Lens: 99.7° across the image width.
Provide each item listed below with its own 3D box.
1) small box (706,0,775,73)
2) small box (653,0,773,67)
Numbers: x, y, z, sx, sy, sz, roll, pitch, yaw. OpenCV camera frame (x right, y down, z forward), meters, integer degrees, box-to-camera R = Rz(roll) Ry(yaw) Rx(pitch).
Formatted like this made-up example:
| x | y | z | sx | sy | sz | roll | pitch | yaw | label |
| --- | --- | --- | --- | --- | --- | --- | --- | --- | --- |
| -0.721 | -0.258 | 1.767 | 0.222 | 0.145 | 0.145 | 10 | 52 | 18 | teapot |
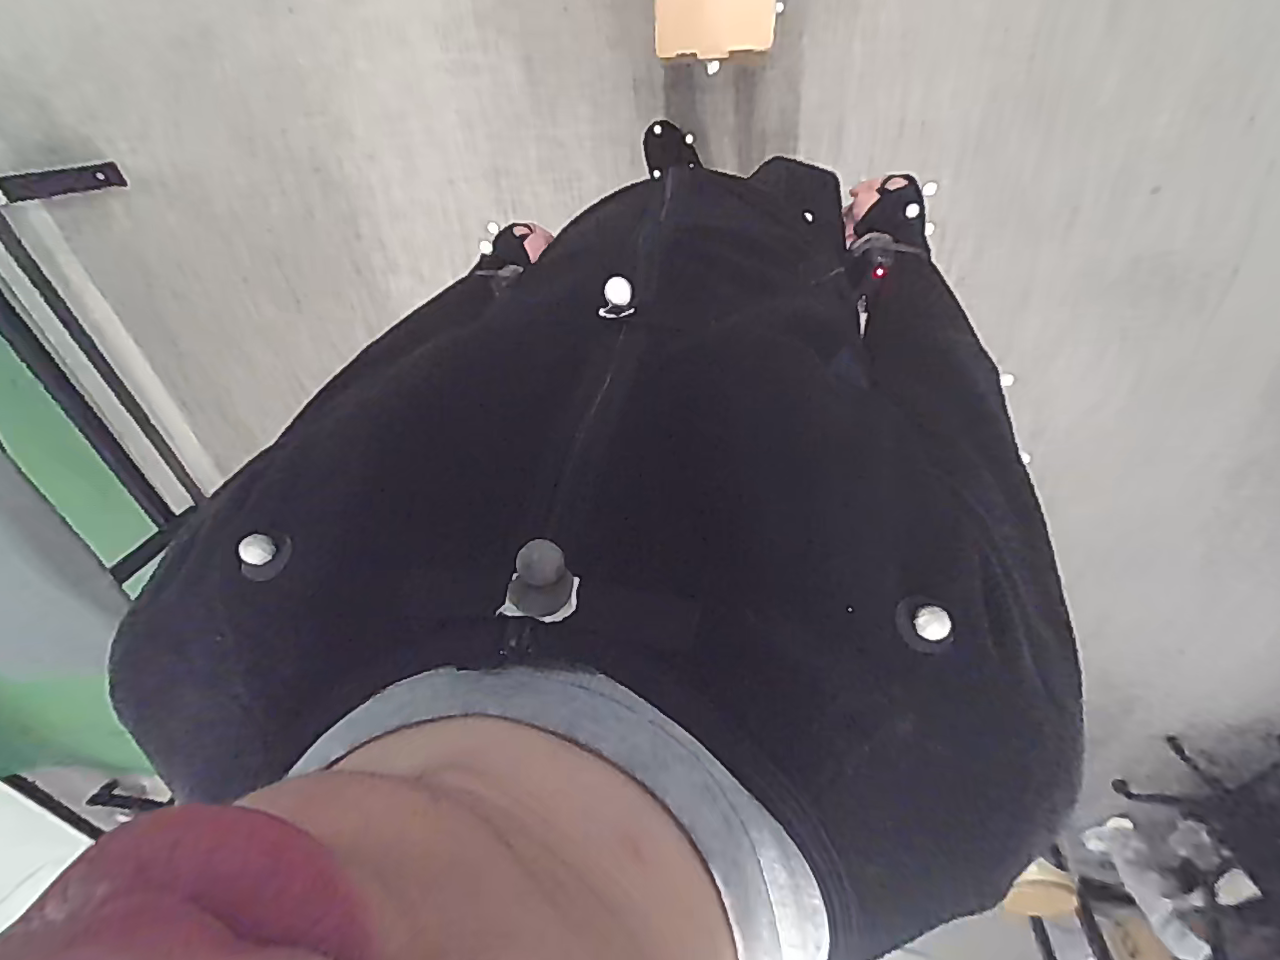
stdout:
| x | y | z | sx | sy | sz | roll | pitch | yaw | label |
| --- | --- | --- | --- | --- | --- | --- | --- | --- | --- |
| 0.142 | -0.811 | 0.916 | 0.168 | 0.176 | 0.179 | 10 | 127 | 2 | small box |
| 0.111 | -0.715 | 0.788 | 0.168 | 0.176 | 0.179 | 3 | 126 | 7 | small box |
